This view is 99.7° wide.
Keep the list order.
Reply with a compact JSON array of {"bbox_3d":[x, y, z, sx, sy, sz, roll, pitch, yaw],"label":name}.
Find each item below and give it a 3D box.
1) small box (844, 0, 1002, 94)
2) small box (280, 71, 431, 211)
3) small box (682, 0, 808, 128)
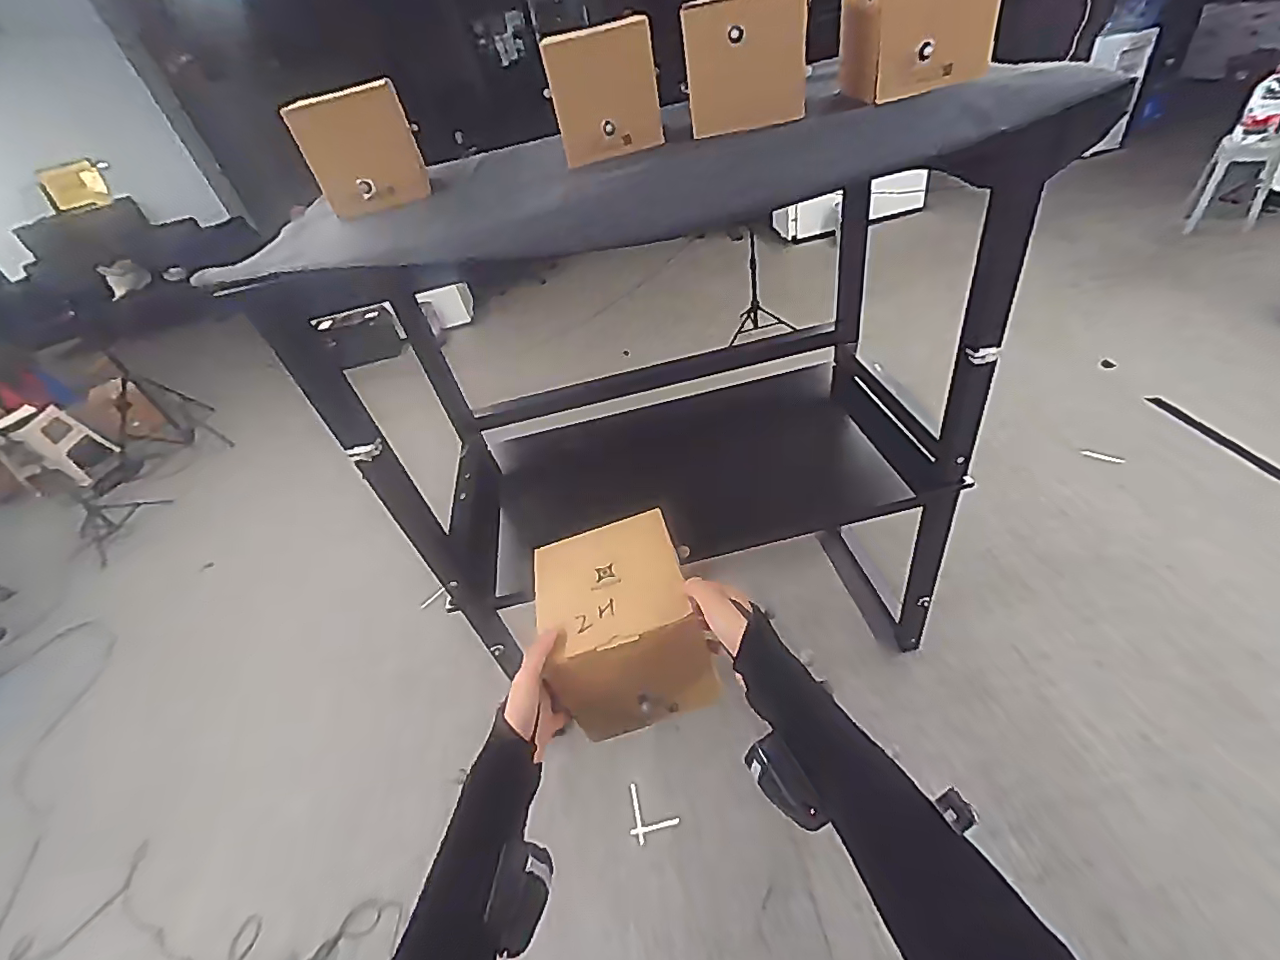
[{"bbox_3d":[0.416,-0.702,0.813,0.168,0.176,0.179,-10,41,5],"label":"small box"},{"bbox_3d":[-0.479,-0.588,0.941,0.168,0.176,0.179,-20,42,-6],"label":"small box"},{"bbox_3d":[0.170,-0.678,0.856,0.179,0.176,0.168,-3,42,13],"label":"small box"}]
